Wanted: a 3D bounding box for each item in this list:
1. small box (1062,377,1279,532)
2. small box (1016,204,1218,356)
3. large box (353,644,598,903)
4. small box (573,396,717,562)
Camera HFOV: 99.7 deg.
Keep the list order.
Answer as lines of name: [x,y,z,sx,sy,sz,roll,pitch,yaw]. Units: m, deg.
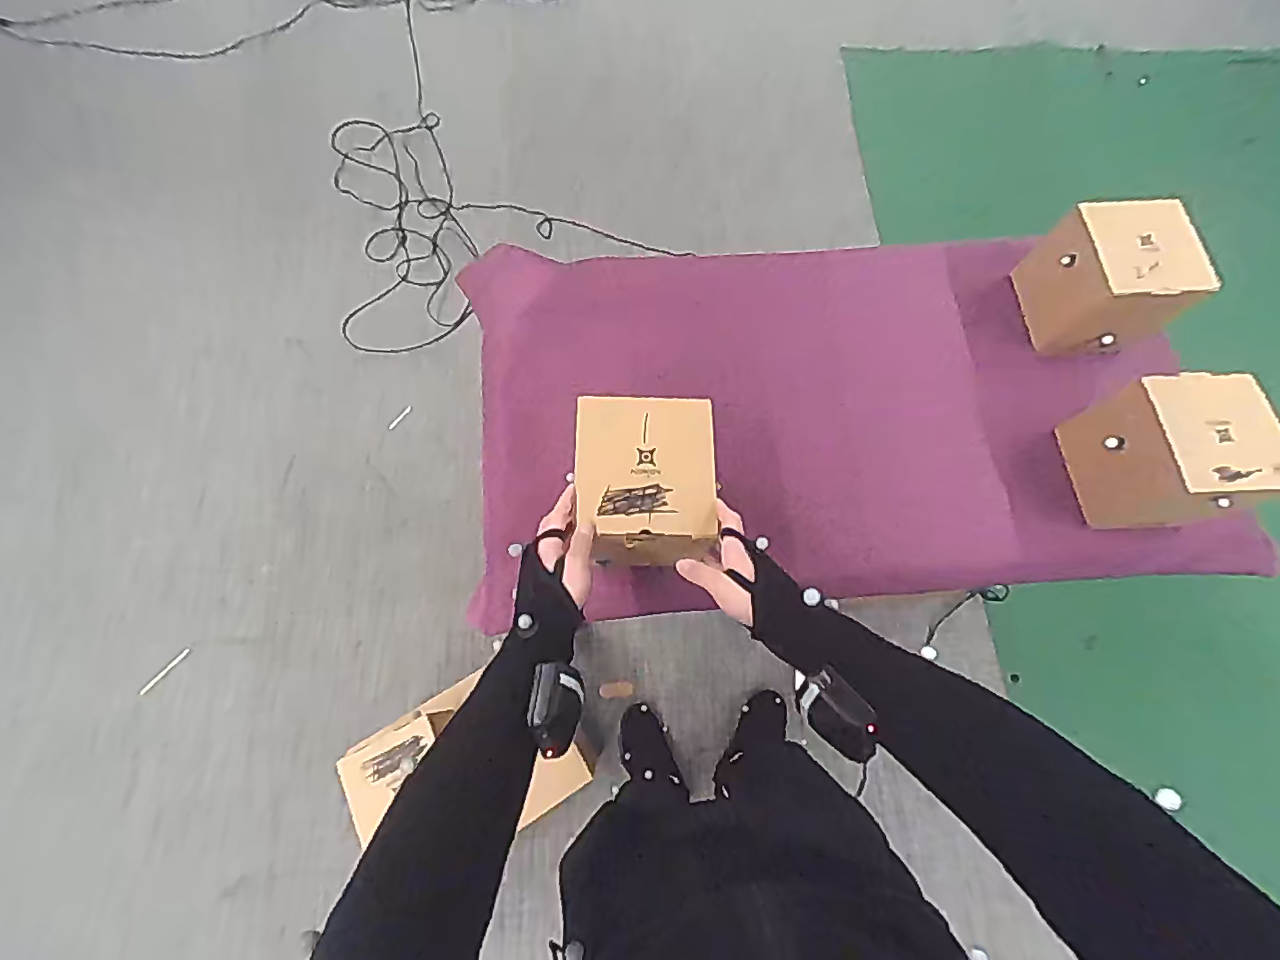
small box: [0.779,-0.033,0.798,0.168,0.176,0.179,-2,67,-1]
small box: [0.777,-0.329,0.906,0.168,0.176,0.179,-2,71,0]
large box: [-0.343,0.629,1.230,0.408,0.320,0.320,-30,74,-13]
small box: [0.004,0.008,0.706,0.168,0.176,0.179,1,69,-3]
